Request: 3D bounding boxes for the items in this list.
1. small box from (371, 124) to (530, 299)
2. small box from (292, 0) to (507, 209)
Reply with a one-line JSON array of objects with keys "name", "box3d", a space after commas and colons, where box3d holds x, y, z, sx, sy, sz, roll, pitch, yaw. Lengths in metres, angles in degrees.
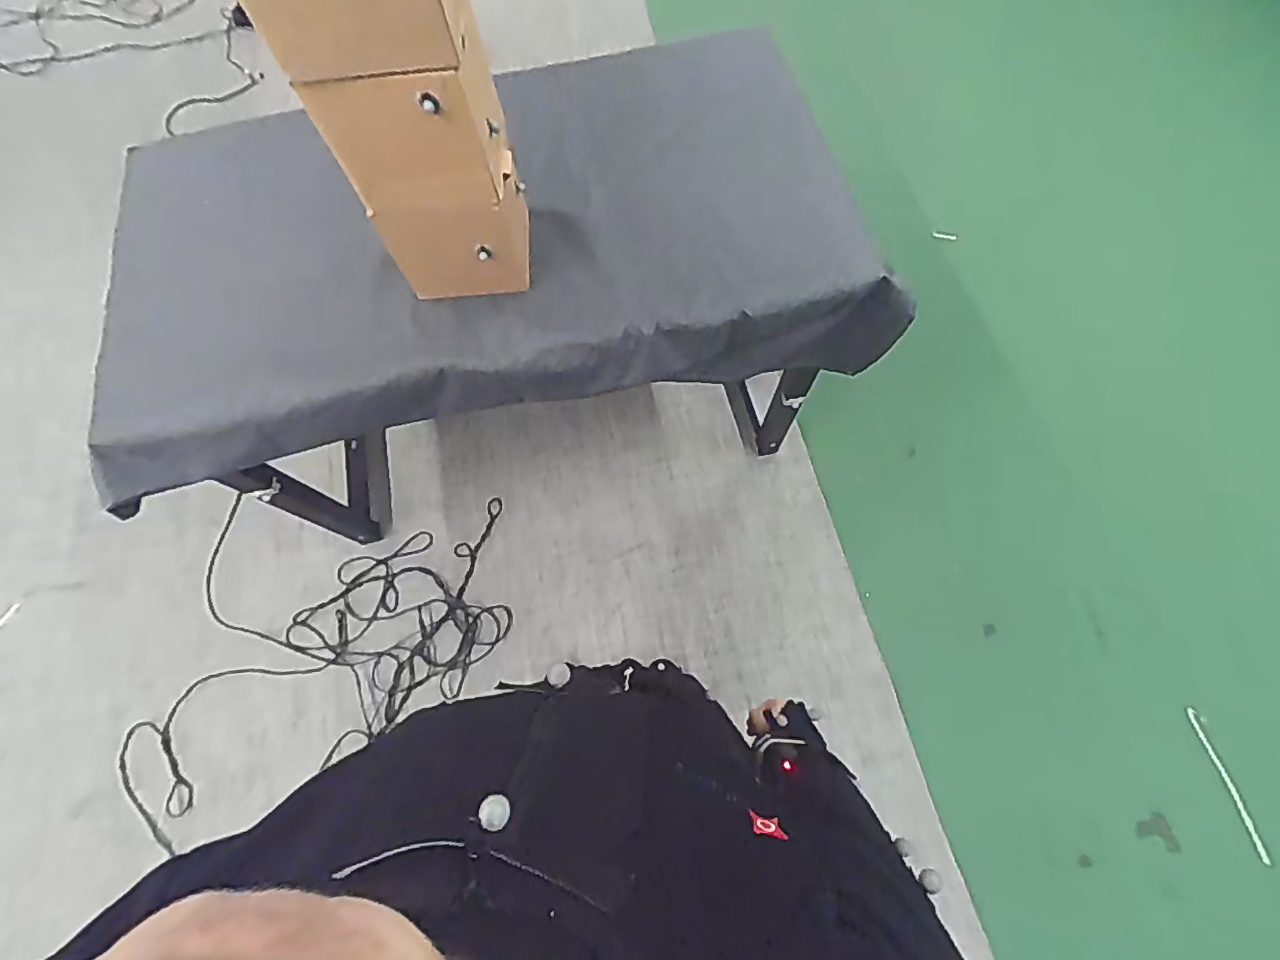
[{"name": "small box", "box3d": [-0.264, -0.392, 0.799, 0.179, 0.176, 0.168, -5, 69, 1]}, {"name": "small box", "box3d": [-0.269, -0.452, 0.648, 0.179, 0.176, 0.168, -5, 69, -1]}]
